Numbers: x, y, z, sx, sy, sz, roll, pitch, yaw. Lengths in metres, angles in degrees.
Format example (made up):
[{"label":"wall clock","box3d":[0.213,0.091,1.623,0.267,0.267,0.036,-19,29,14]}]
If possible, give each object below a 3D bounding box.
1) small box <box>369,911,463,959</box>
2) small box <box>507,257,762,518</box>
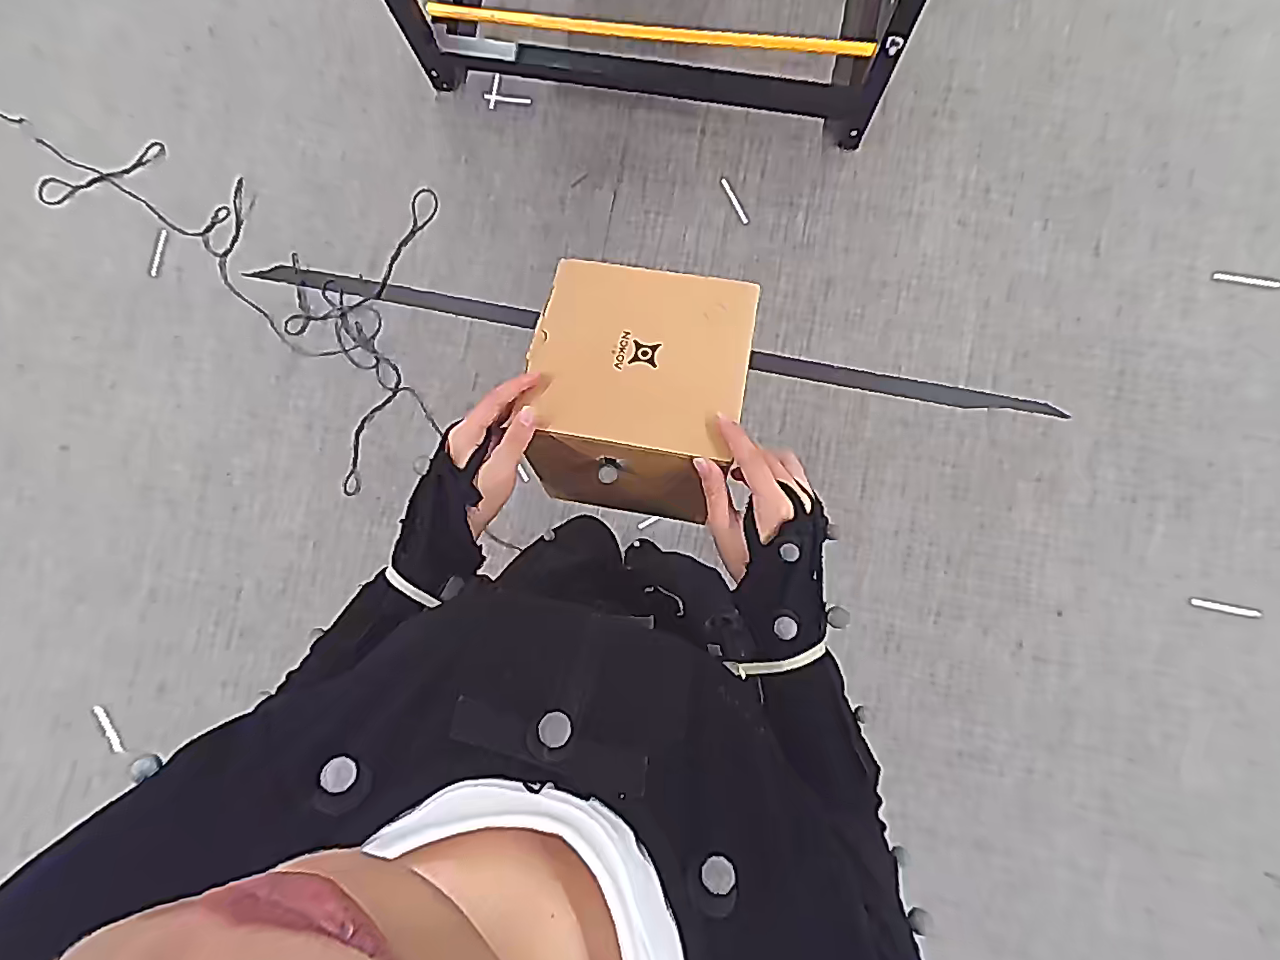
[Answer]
[{"label":"small box","box3d":[-0.506,1.097,1.173,0.168,0.176,0.179,15,87,5]},{"label":"small box","box3d":[0.003,-0.073,0.500,0.179,0.176,0.168,10,70,6]}]
